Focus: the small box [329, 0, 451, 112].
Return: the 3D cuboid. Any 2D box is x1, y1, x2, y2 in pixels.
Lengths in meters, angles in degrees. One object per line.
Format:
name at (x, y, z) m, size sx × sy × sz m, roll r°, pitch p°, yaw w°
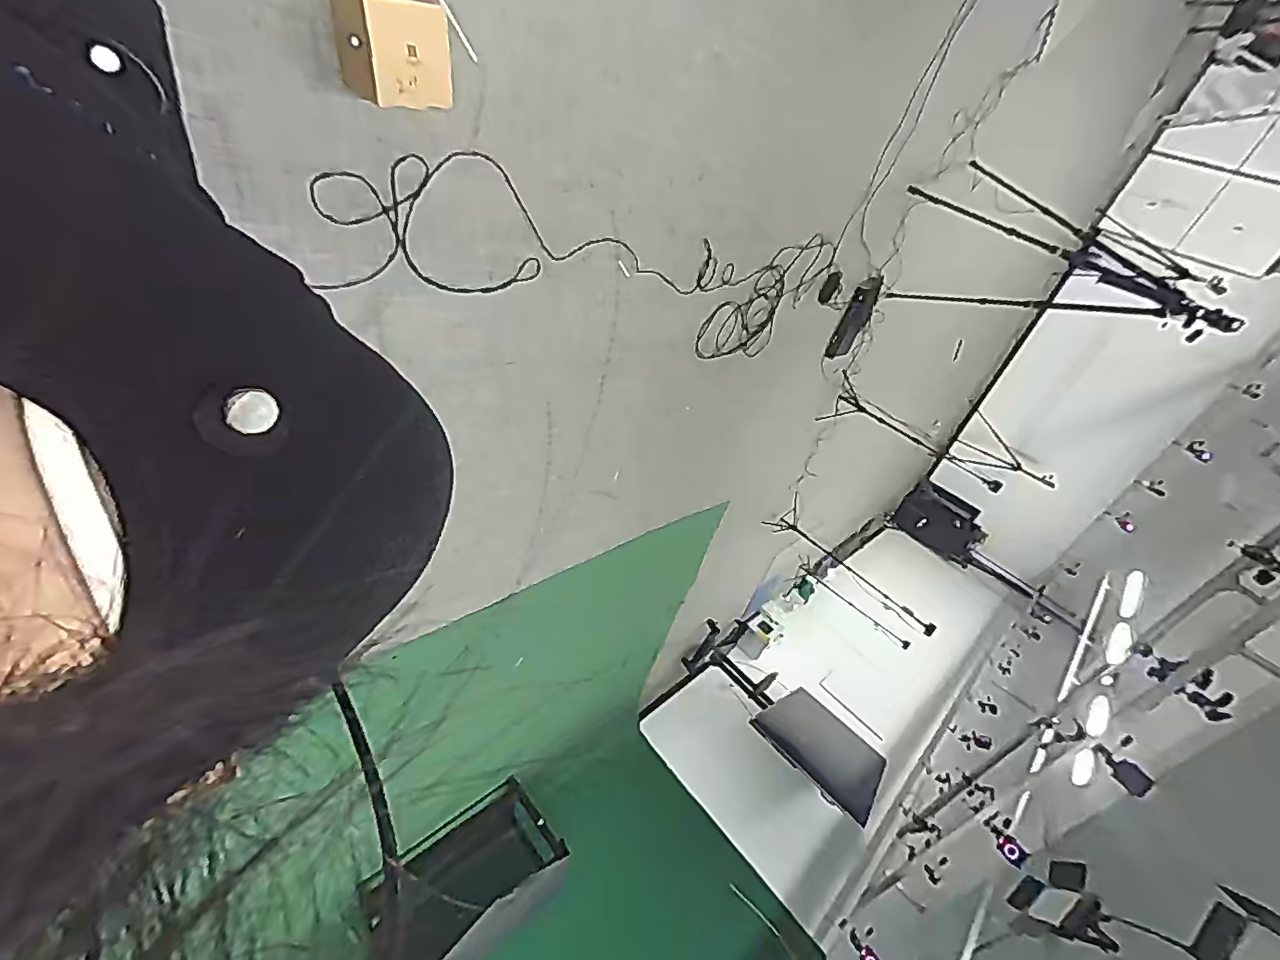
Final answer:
small box at (-0.513, -0.882, 1.113) m, size 0.168 × 0.176 × 0.179 m, roll -27°, pitch 144°, yaw -35°
